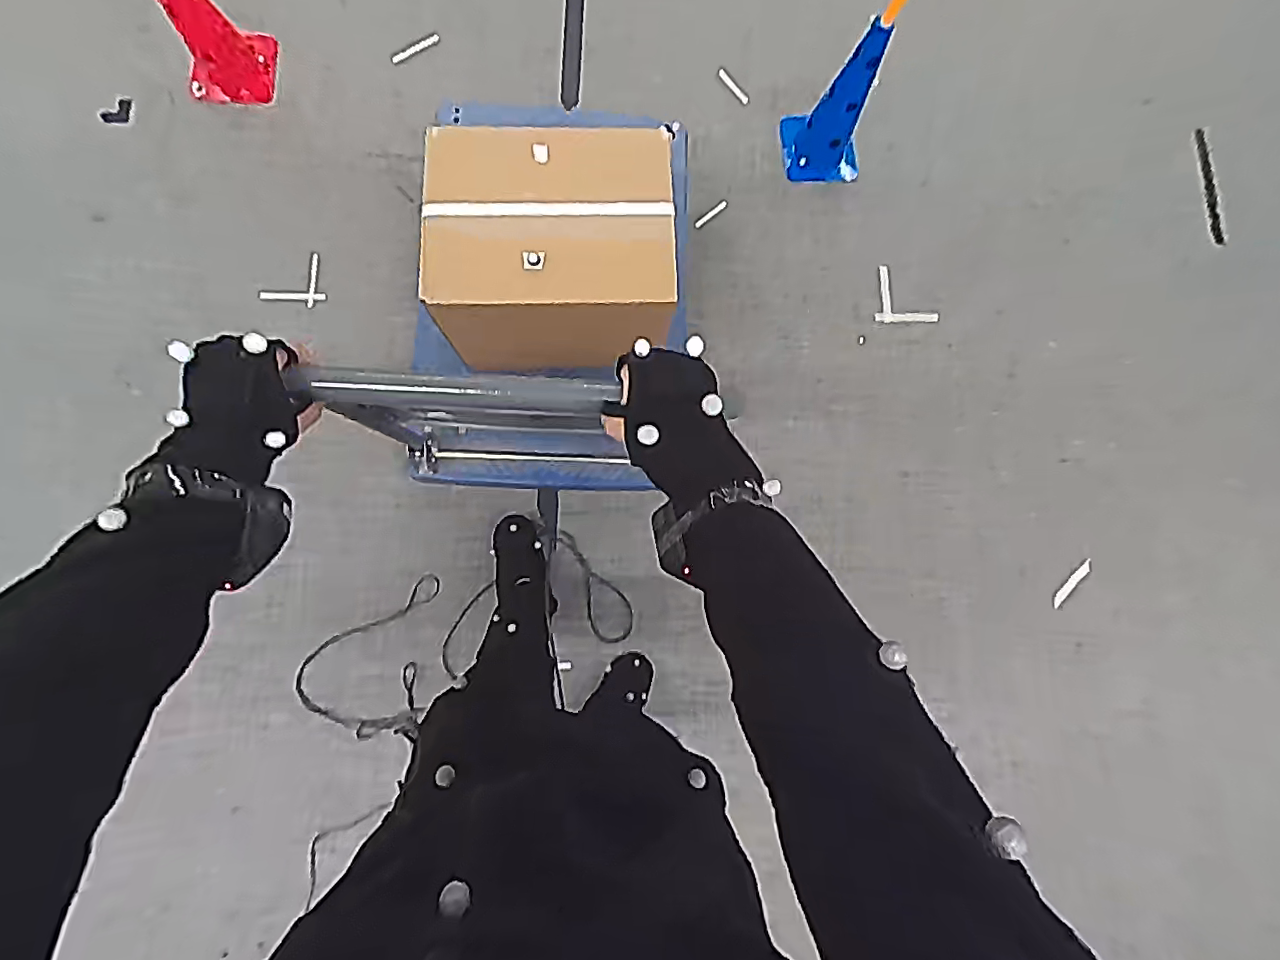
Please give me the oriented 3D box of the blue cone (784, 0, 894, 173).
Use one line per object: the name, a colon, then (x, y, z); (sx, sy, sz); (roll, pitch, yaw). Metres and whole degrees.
blue cone: (0.503, -0.946, 1.308); (0.193, 0.380, 0.192); (-3, 81, -5)
